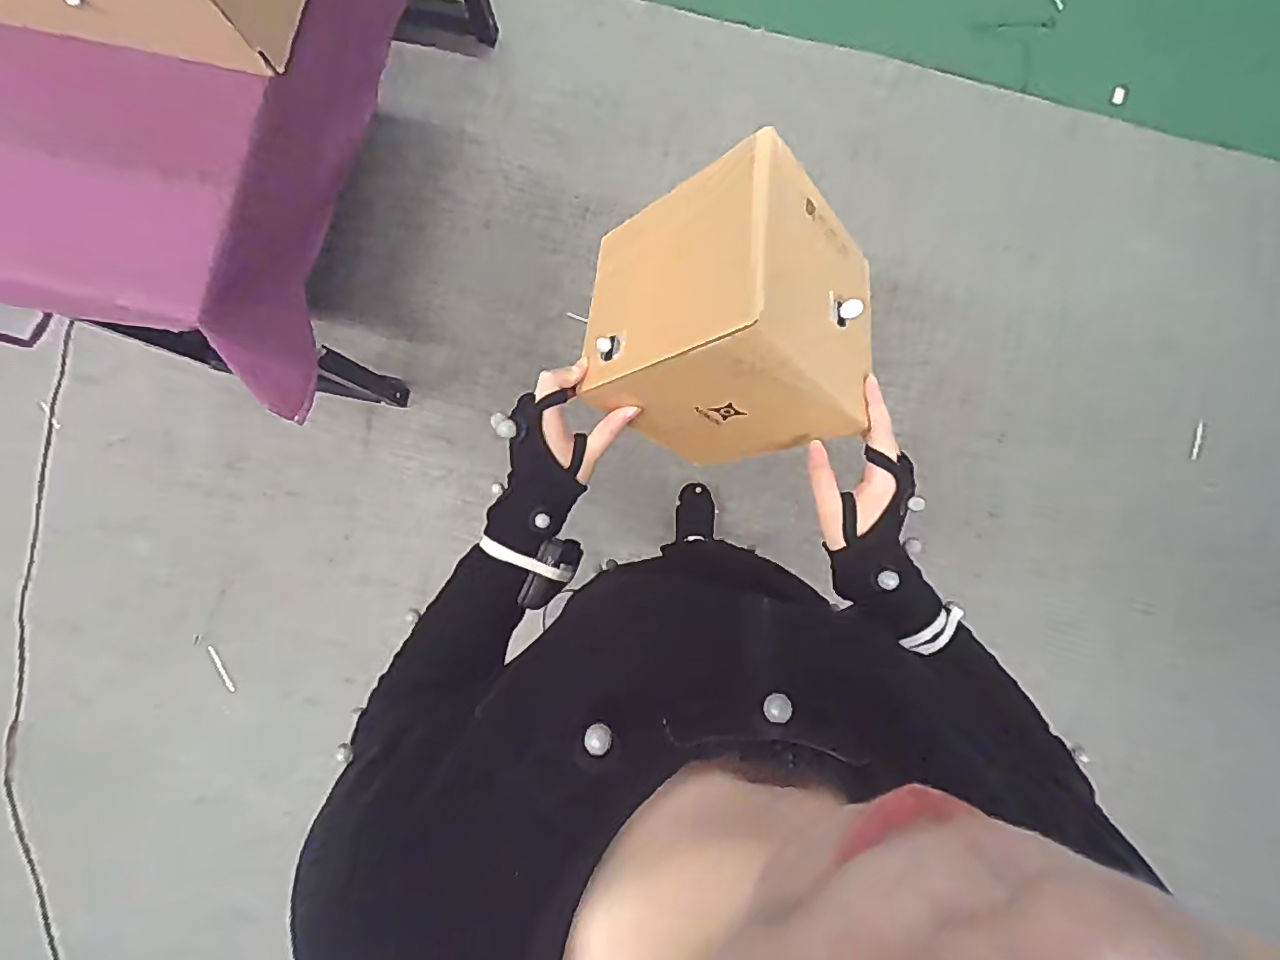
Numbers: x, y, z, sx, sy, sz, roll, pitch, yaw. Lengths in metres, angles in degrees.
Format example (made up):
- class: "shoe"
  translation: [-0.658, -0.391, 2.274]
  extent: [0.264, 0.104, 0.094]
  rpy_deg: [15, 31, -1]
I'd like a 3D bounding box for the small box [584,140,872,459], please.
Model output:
- class: "small box"
  translation: [0.077, -0.136, 0.461]
  extent: [0.168, 0.179, 0.176]
  rpy_deg: [25, 65, -39]
